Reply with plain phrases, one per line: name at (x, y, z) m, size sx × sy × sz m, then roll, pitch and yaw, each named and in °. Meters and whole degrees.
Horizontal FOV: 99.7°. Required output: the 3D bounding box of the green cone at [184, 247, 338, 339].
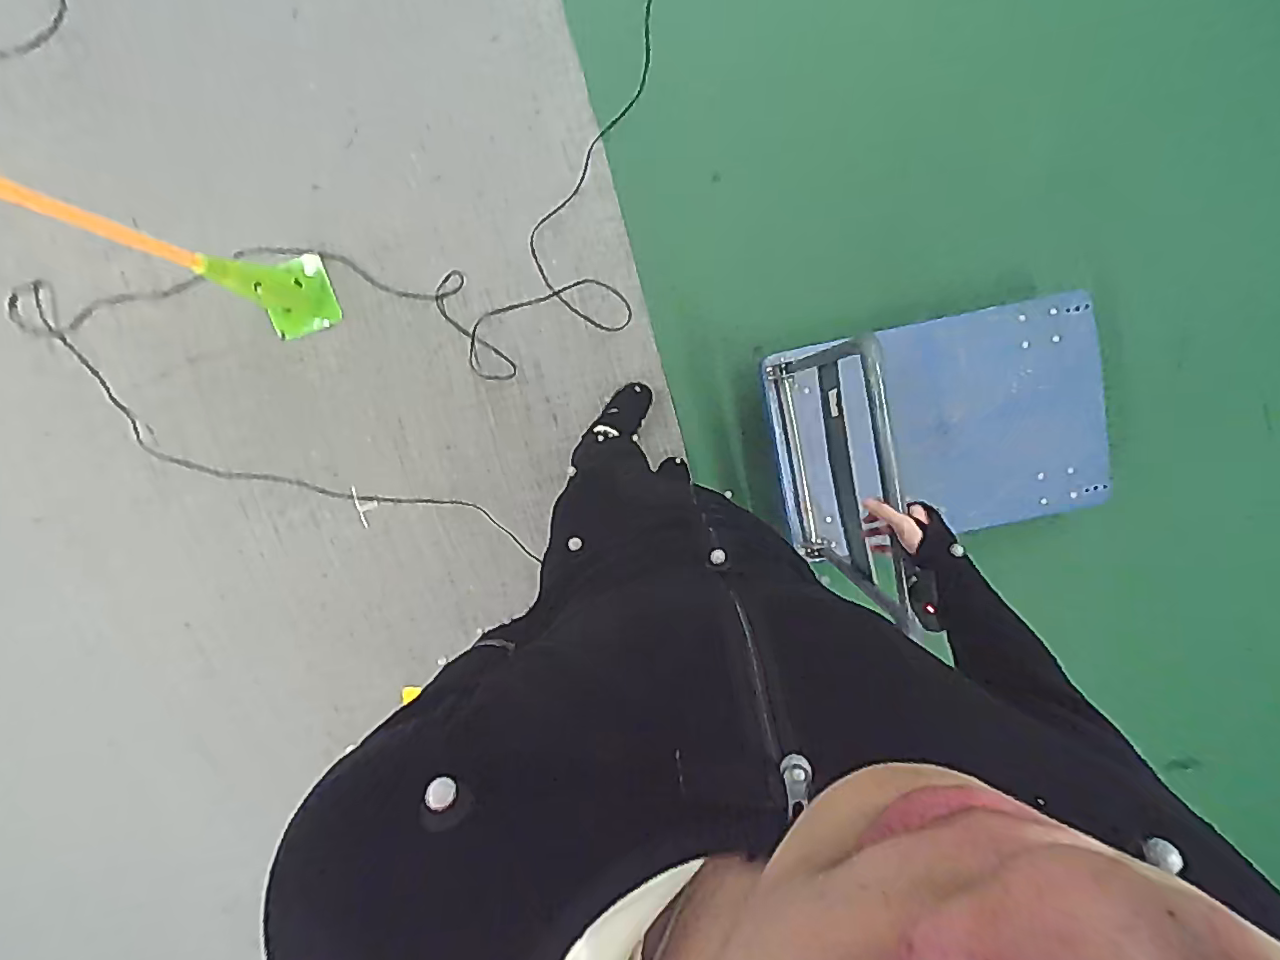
green cone at (-0.978, -0.507, 1.368) m, size 0.200 × 0.368 × 0.202 m, roll -19°, pitch 95°, yaw 2°
